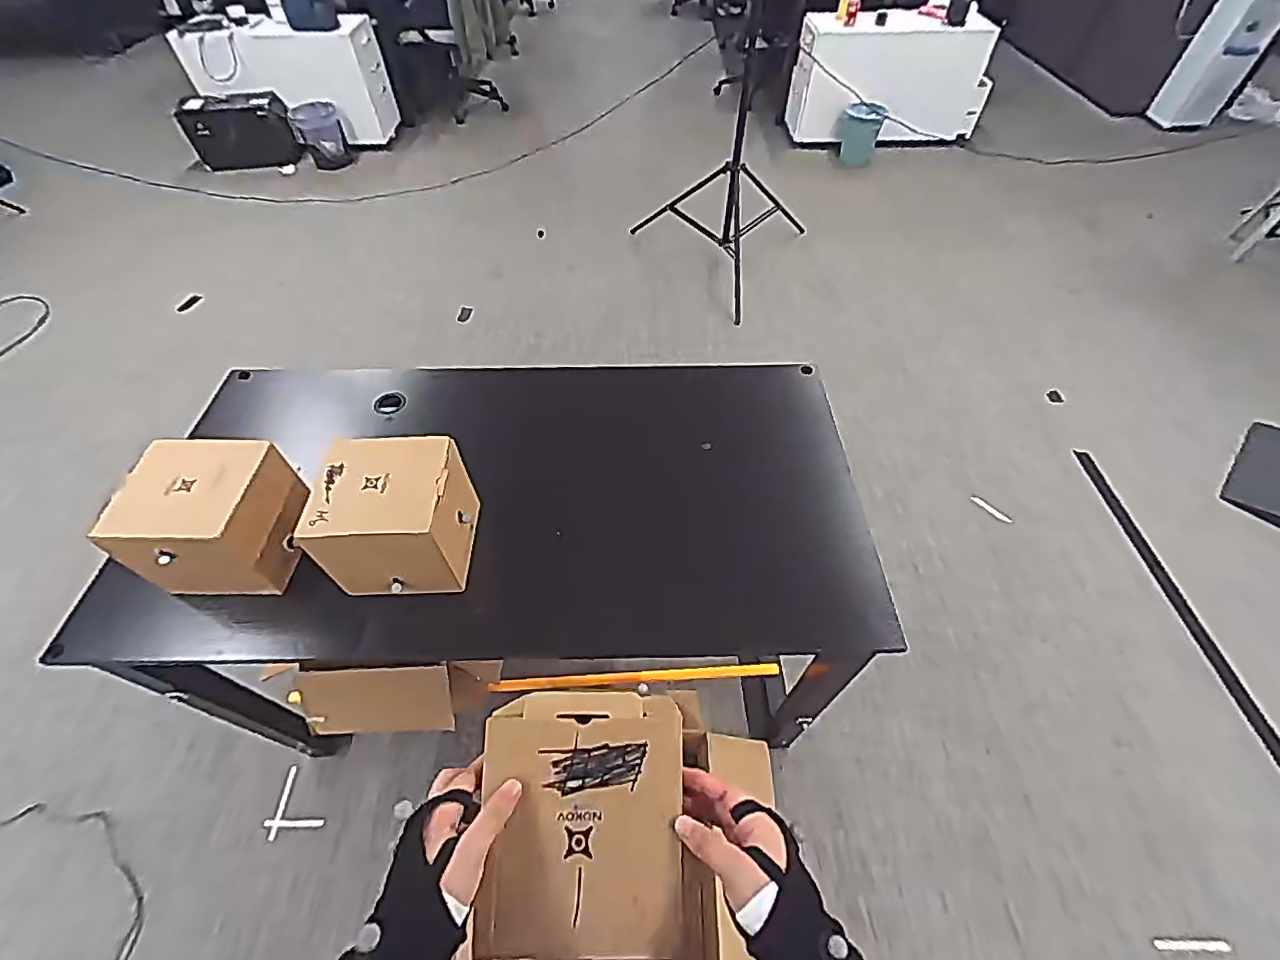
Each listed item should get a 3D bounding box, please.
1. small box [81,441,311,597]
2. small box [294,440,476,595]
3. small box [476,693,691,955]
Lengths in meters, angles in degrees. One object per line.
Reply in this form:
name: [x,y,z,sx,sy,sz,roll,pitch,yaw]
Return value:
small box: [-0.613,0.061,0.786,0.179,0.176,0.168,1,53,0]
small box: [-0.350,0.058,0.788,0.179,0.176,0.168,-1,52,-2]
small box: [-0.043,0.299,0.509,0.168,0.176,0.179,1,73,0]
